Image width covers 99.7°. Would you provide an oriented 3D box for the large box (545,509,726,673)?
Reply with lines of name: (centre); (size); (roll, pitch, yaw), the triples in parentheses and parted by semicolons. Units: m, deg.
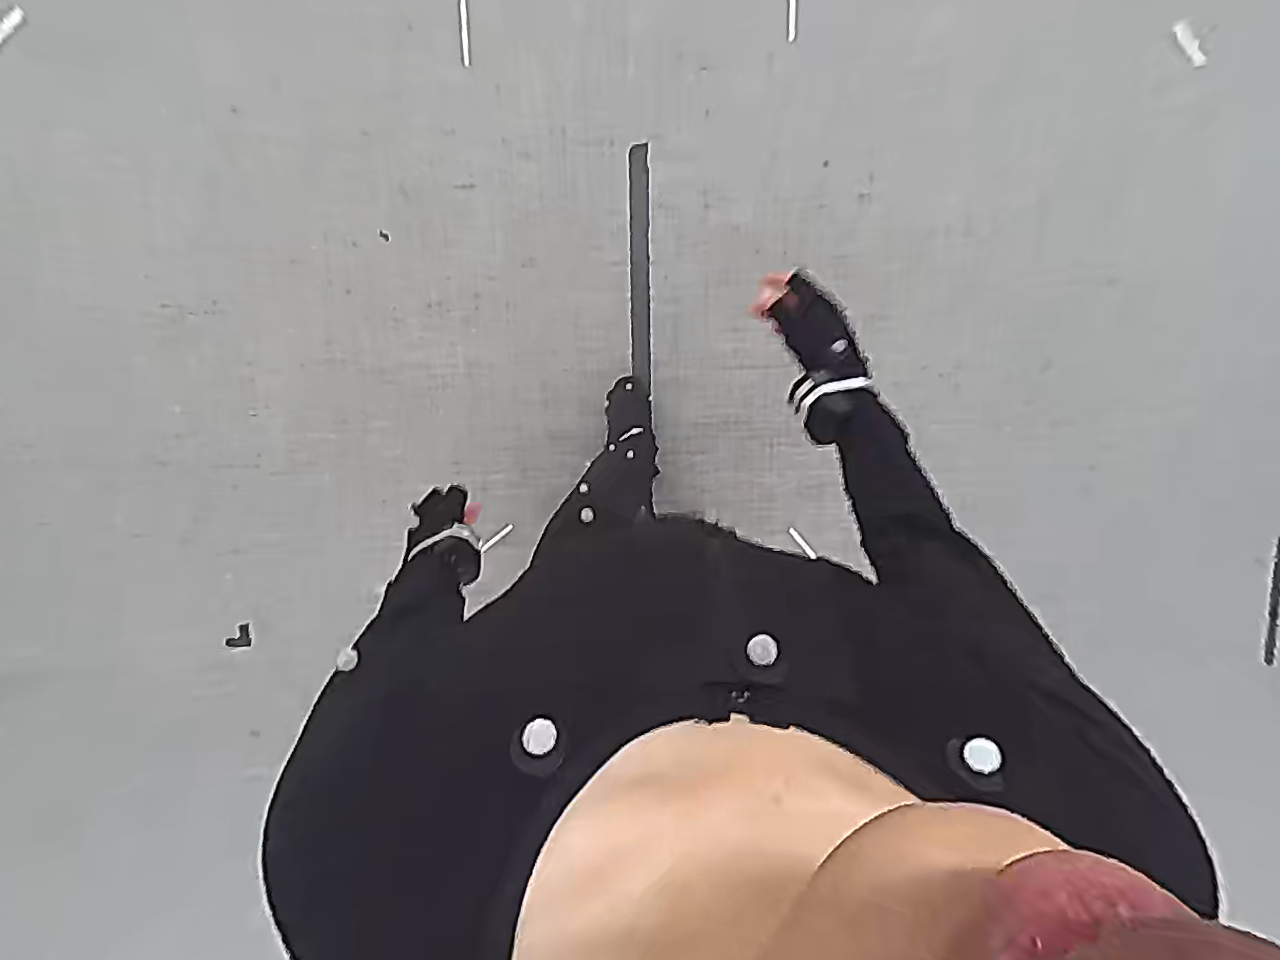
large box: (-0.008, 0.261, 1.364); (0.408, 0.320, 0.320); (-2, 98, -1)
